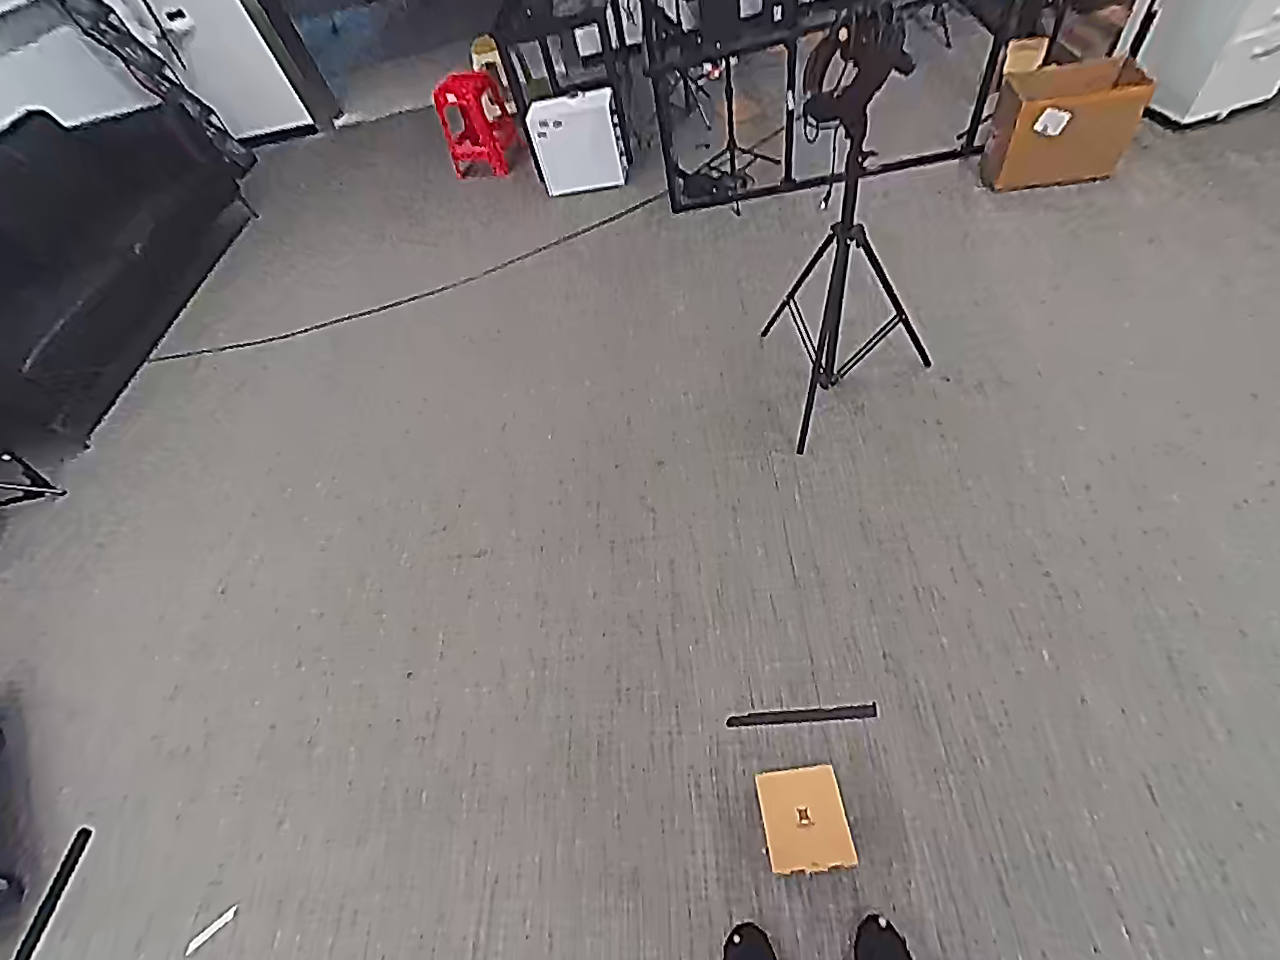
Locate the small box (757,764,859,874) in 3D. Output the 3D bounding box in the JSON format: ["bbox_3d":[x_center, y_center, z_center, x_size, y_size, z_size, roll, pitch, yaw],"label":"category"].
[{"bbox_3d":[0.345,0.722,1.148,0.168,0.176,0.179,-11,54,5],"label":"small box"}]
